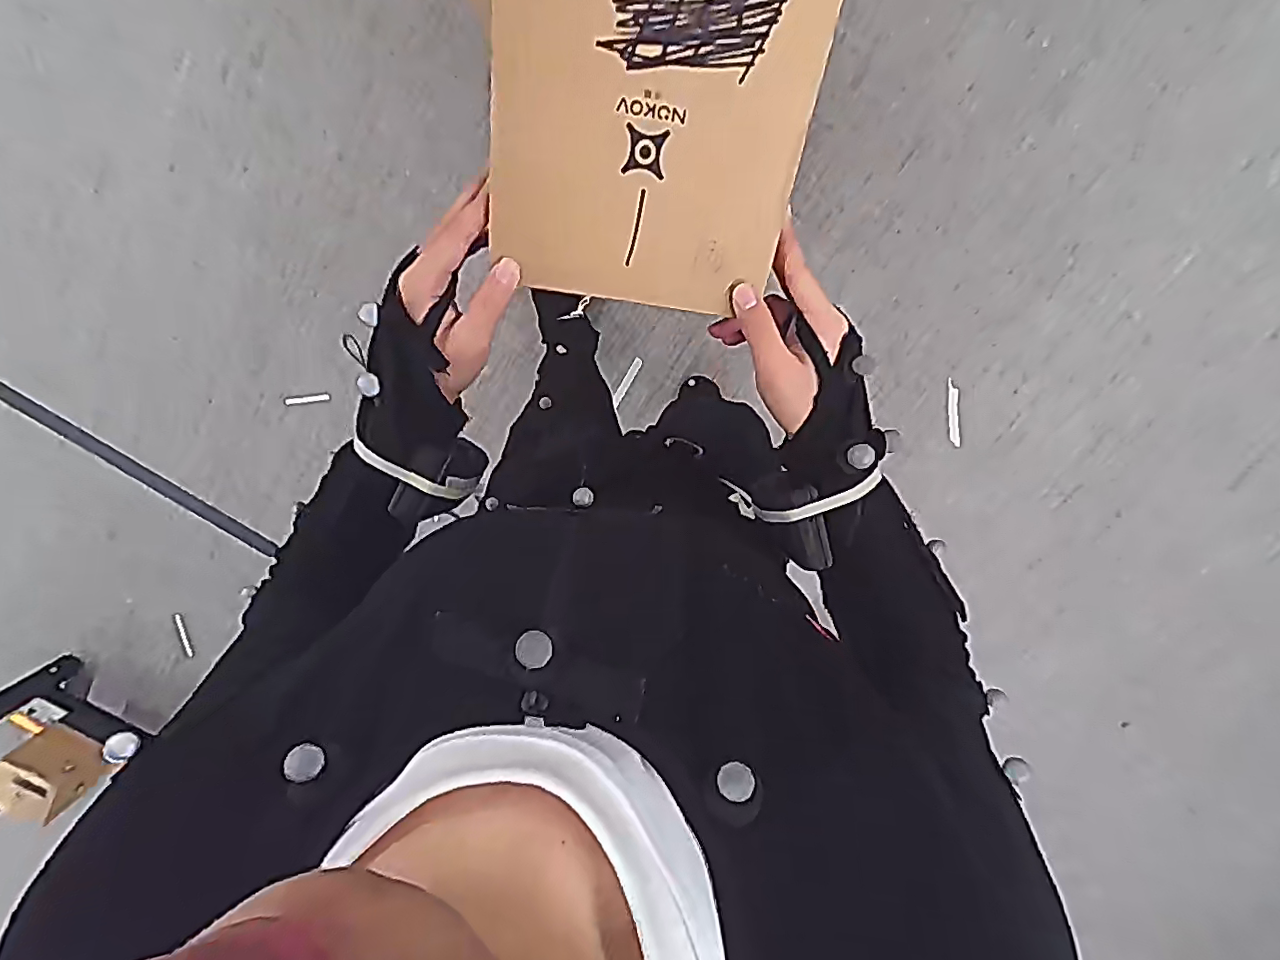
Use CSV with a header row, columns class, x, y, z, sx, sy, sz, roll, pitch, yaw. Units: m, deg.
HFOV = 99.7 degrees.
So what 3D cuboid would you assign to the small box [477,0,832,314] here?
class,x,y,z,sx,sy,sz,roll,pitch,yaw
small box,-0.004,-0.227,0.351,0.168,0.176,0.179,8,120,-8
